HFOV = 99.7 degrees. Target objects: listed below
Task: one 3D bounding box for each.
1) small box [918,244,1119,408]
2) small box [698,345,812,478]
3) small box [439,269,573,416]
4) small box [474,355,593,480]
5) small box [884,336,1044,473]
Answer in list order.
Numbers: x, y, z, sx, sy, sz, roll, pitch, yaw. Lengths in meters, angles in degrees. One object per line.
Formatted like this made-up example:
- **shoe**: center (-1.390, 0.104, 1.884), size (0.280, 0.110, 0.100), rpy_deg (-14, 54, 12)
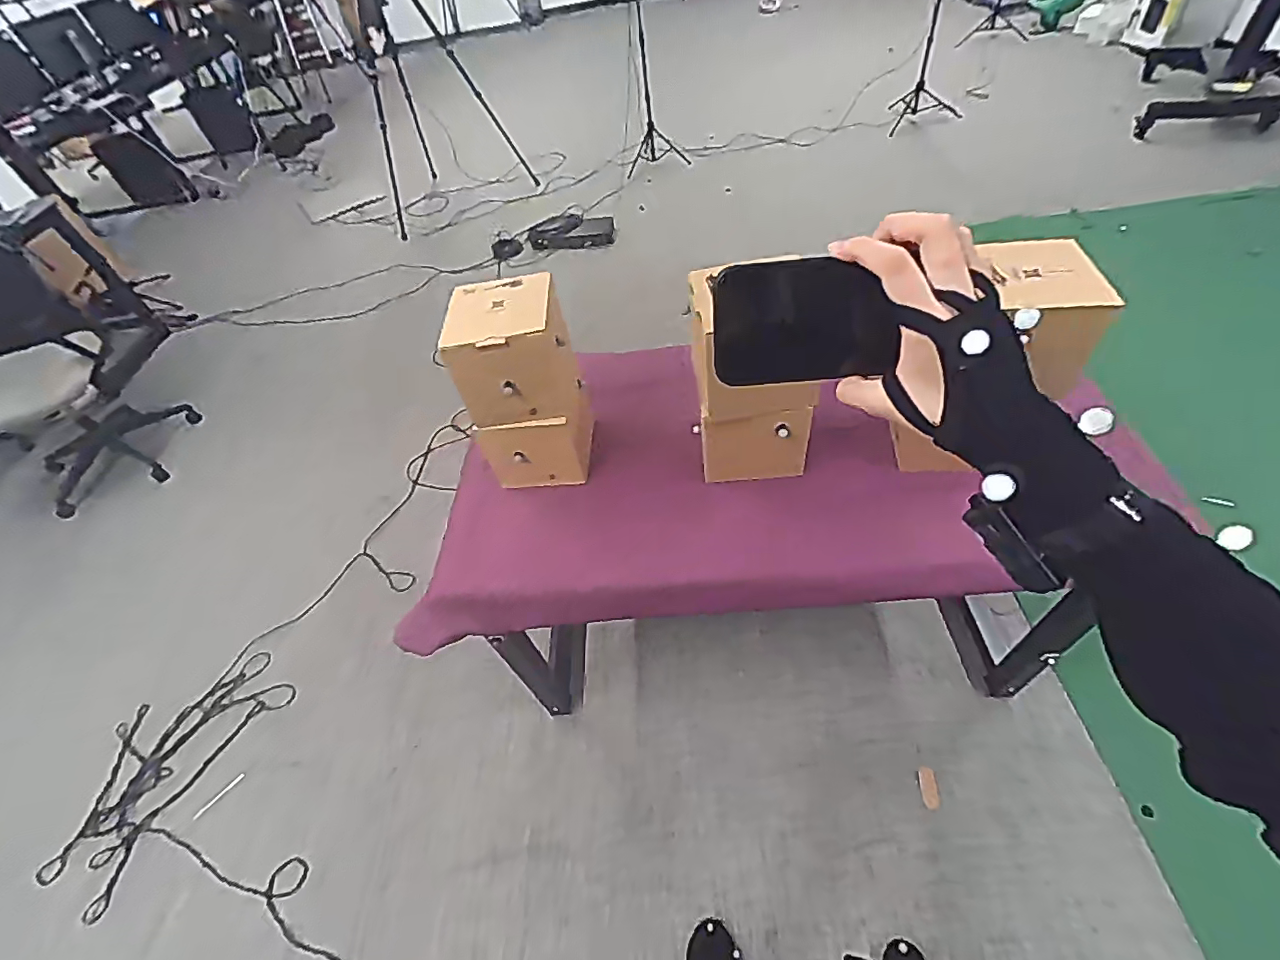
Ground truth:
- **small box**: center (0.520, -0.218, 0.782), size (0.179, 0.176, 0.168), rpy_deg (2, 51, 10)
- **small box**: center (0.196, -0.118, 0.966), size (0.179, 0.176, 0.168), rpy_deg (-3, 50, 7)
- **small box**: center (-0.211, -0.222, 0.906), size (0.168, 0.176, 0.179), rpy_deg (-6, 51, 3)
- **small box**: center (-0.190, -0.111, 1.026), size (0.168, 0.176, 0.179), rpy_deg (-3, 50, 7)
- **small box**: center (0.533, -0.126, 0.917), size (0.179, 0.176, 0.168), rpy_deg (1, 51, 11)
